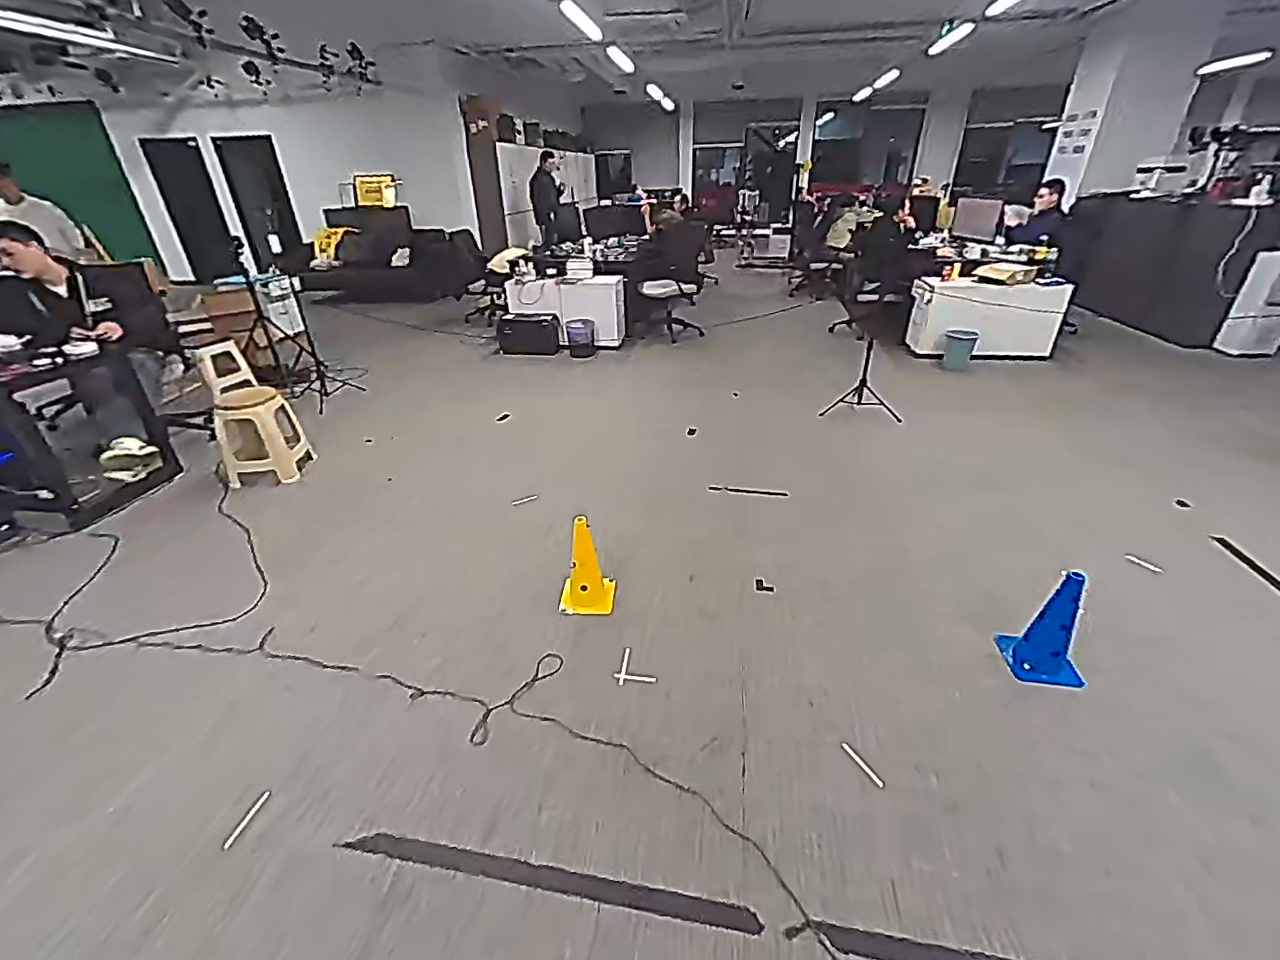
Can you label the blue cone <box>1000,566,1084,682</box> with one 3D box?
[{"bbox_3d":[1.301,0.434,1.684,0.193,0.380,0.192,4,29,10],"label":"blue cone"}]
